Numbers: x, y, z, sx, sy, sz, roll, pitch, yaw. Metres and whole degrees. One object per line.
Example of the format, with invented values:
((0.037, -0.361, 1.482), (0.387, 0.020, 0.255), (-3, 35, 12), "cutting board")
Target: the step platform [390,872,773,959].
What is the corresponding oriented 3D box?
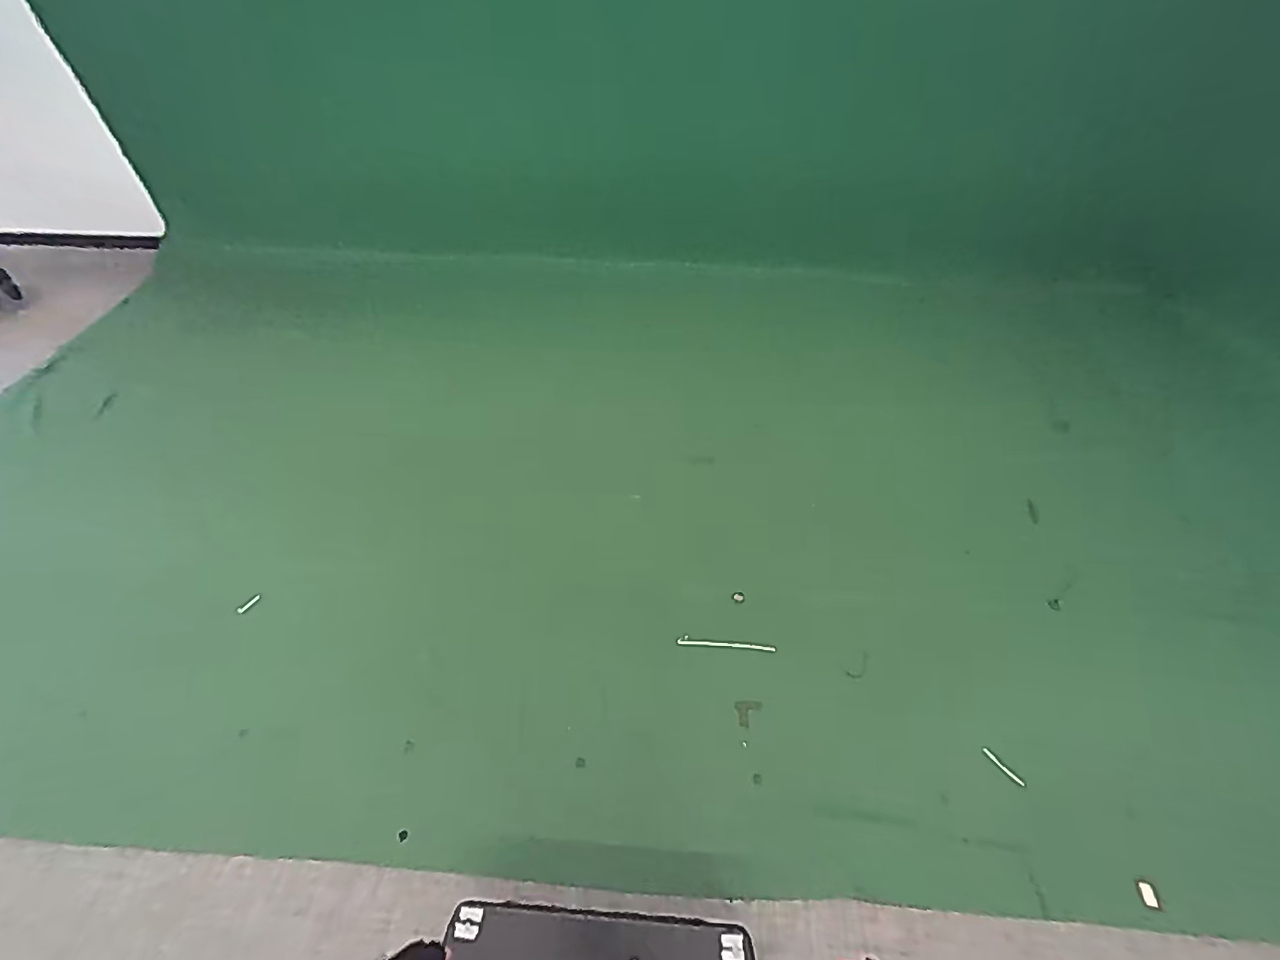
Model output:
((-0.104, 0.928, 1.001), (0.684, 0.204, 0.286), (2, 50, 2), "step platform")
